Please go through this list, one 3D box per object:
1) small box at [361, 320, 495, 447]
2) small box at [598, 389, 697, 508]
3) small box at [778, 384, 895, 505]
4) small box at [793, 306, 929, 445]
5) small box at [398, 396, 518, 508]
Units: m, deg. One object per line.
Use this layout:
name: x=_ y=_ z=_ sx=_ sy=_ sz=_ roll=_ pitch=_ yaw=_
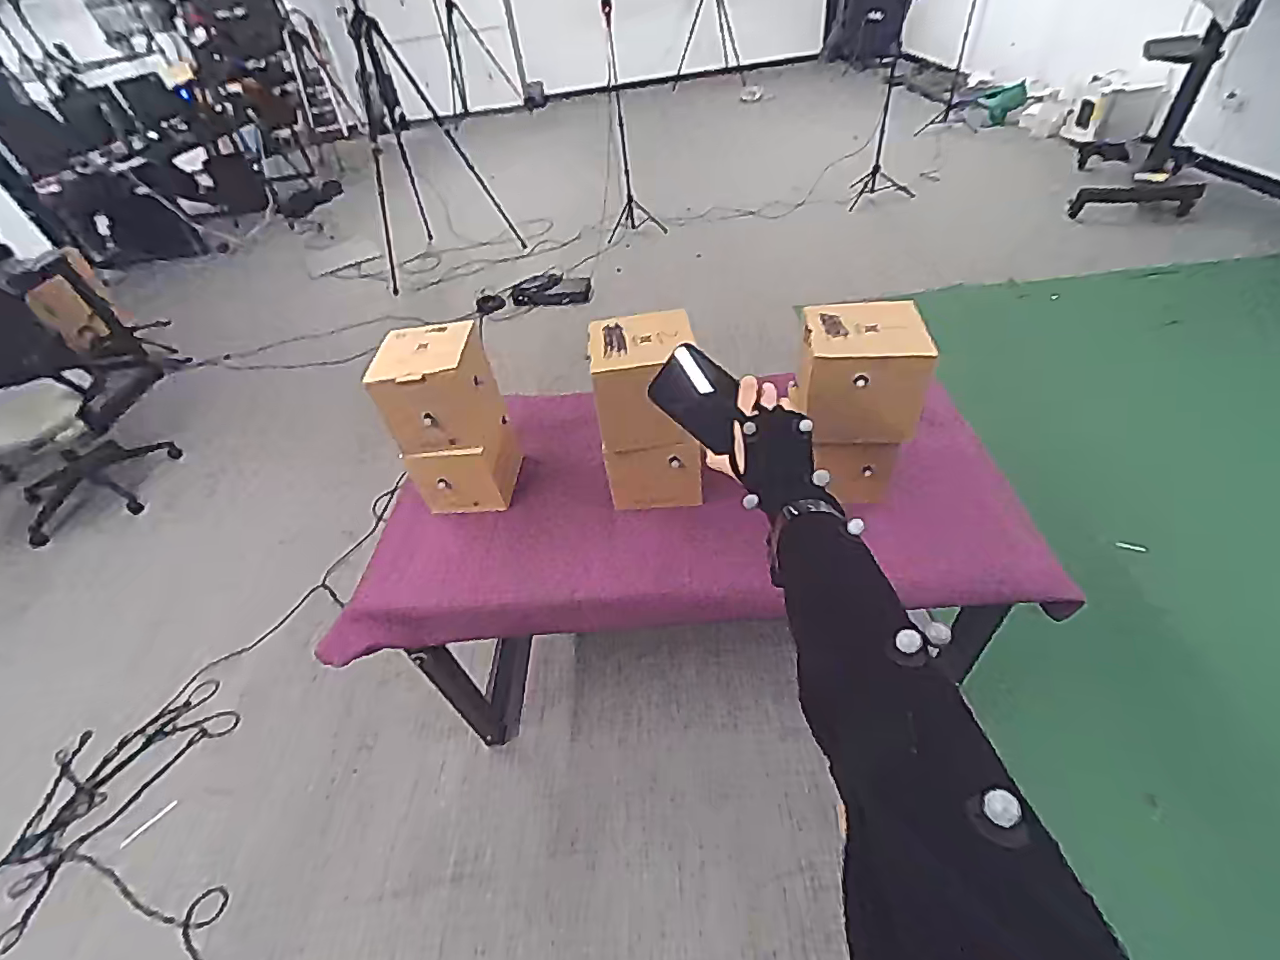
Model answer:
small box: x=-0.383 y=-0.175 z=1.015 sx=0.168 sy=0.176 sz=0.179 roll=-6 pitch=45 yaw=2
small box: x=0.022 y=-0.059 z=1.068 sx=0.179 sy=0.176 sz=0.168 roll=-3 pitch=44 yaw=6
small box: x=0.360 y=-0.066 z=1.024 sx=0.179 sy=0.176 sz=0.168 roll=1 pitch=45 yaw=11
small box: x=0.350 y=-0.172 z=0.899 sx=0.179 sy=0.176 sz=0.168 roll=2 pitch=45 yaw=10
small box: x=-0.365 y=-0.053 z=1.123 sx=0.168 sy=0.176 sz=0.179 roll=-3 pitch=44 yaw=6
